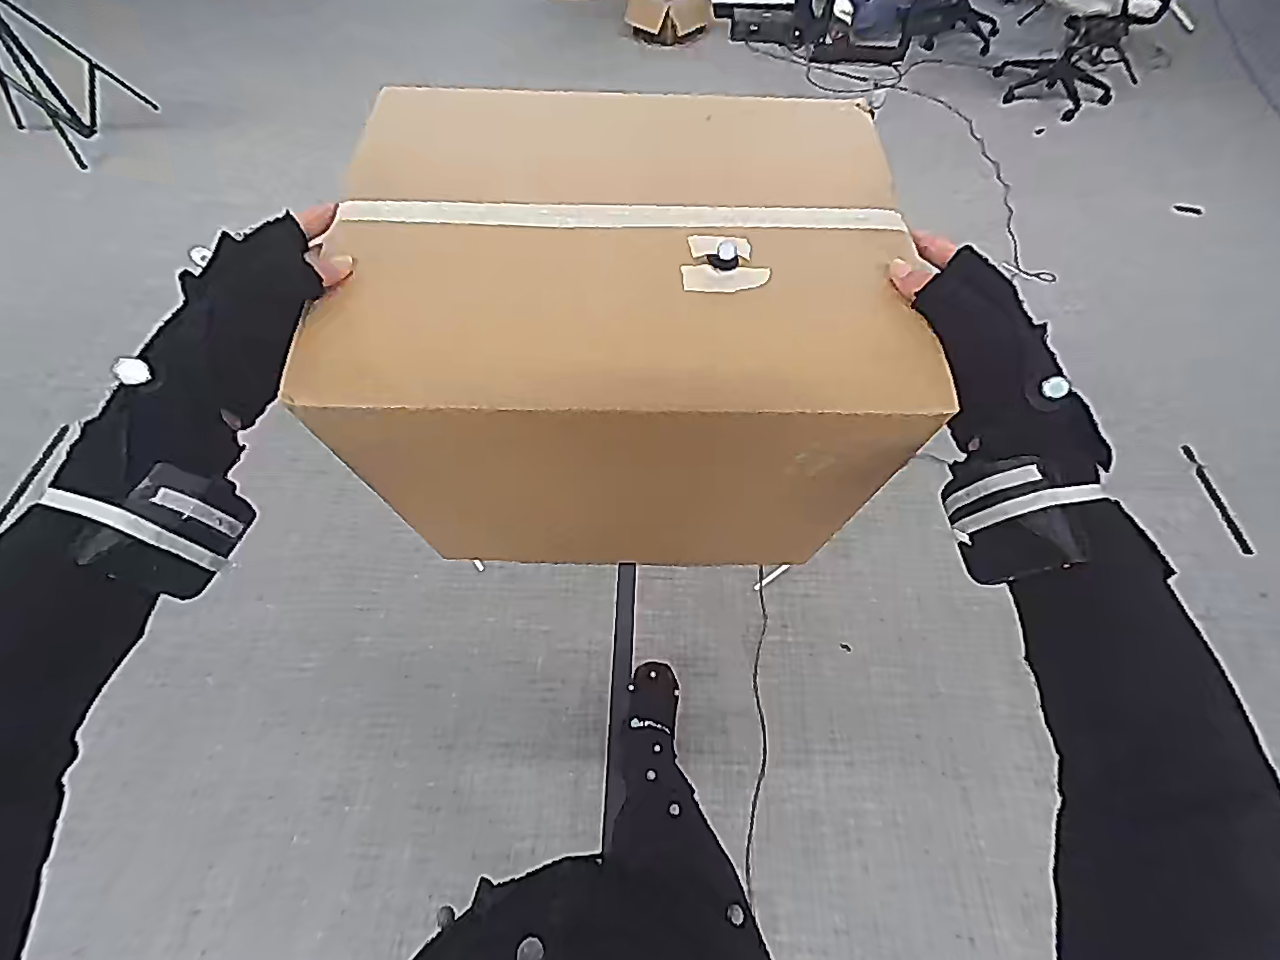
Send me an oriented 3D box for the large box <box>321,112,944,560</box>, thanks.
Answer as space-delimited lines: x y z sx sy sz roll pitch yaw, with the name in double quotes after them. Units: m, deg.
-0.009 -0.114 0.537 0.408 0.320 0.320 1 65 -2 "large box"
